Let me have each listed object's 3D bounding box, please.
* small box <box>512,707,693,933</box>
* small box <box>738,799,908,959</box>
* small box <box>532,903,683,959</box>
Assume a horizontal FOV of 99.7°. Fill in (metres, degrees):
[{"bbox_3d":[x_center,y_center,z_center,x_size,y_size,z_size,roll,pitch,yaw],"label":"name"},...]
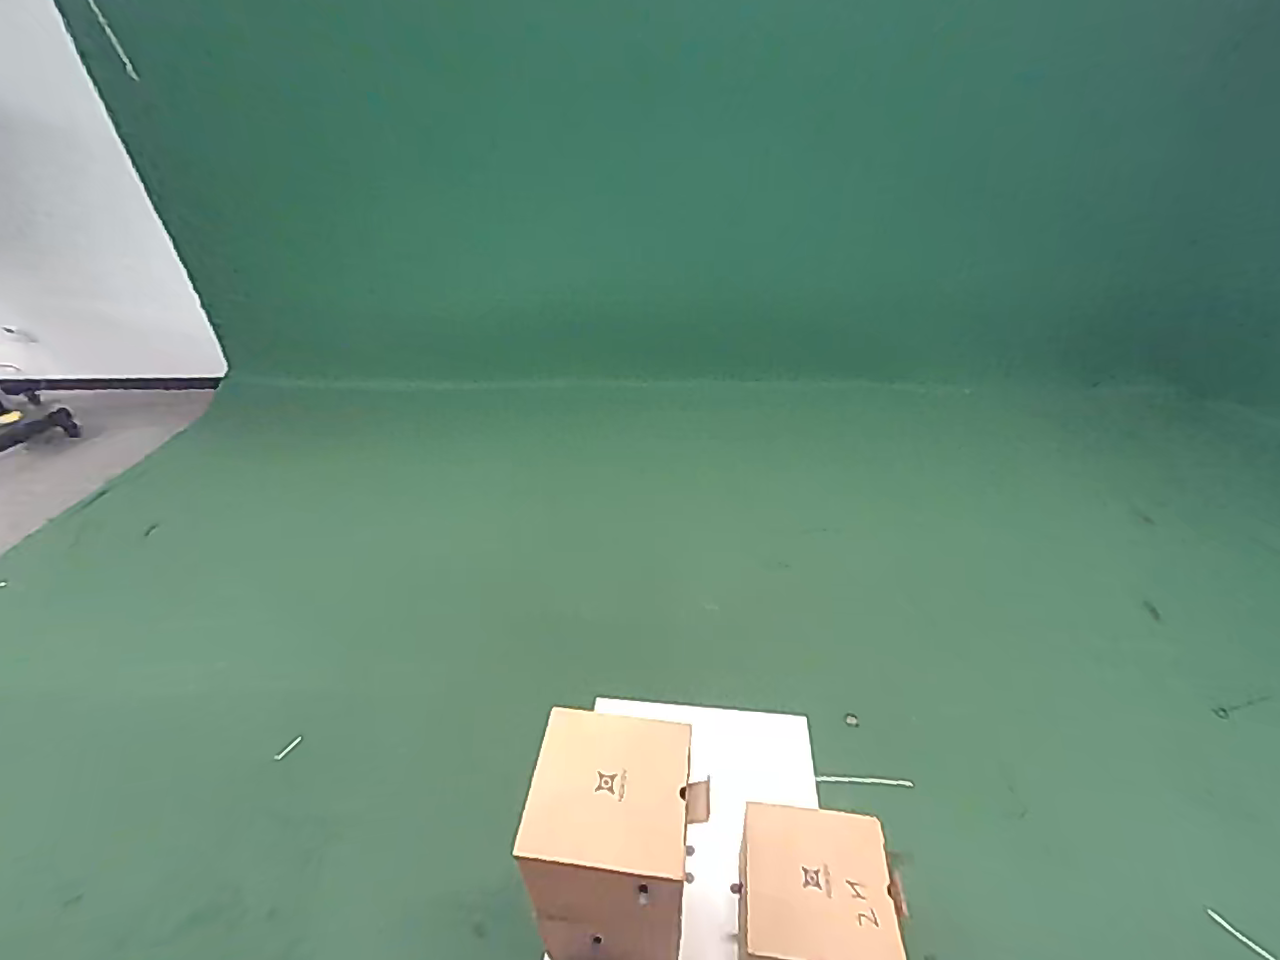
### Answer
[{"bbox_3d":[-0.032,0.395,0.633,0.179,0.176,0.168,4,35,5],"label":"small box"},{"bbox_3d":[0.218,0.543,0.692,0.179,0.176,0.168,4,37,8],"label":"small box"},{"bbox_3d":[-0.029,0.529,0.726,0.179,0.176,0.168,2,35,5],"label":"small box"}]
